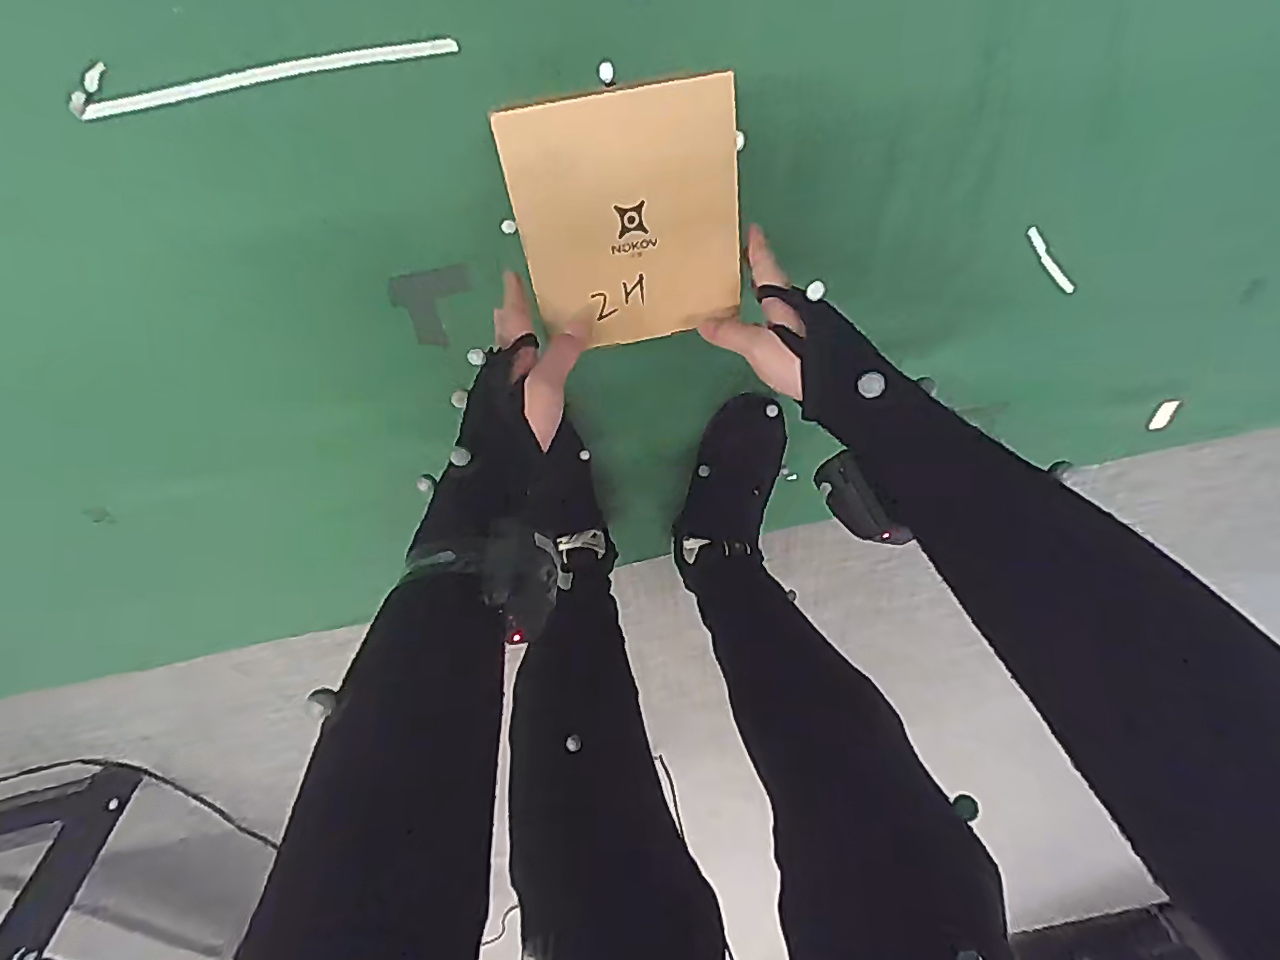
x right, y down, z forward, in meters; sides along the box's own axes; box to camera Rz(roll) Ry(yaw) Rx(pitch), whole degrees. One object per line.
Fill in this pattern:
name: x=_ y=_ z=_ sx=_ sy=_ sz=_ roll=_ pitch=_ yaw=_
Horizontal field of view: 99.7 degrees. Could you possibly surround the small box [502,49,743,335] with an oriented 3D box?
small box: x=-0.016 y=-0.249 z=0.466 sx=0.168 sy=0.176 sz=0.179 roll=-10 pitch=128 yaw=-3
